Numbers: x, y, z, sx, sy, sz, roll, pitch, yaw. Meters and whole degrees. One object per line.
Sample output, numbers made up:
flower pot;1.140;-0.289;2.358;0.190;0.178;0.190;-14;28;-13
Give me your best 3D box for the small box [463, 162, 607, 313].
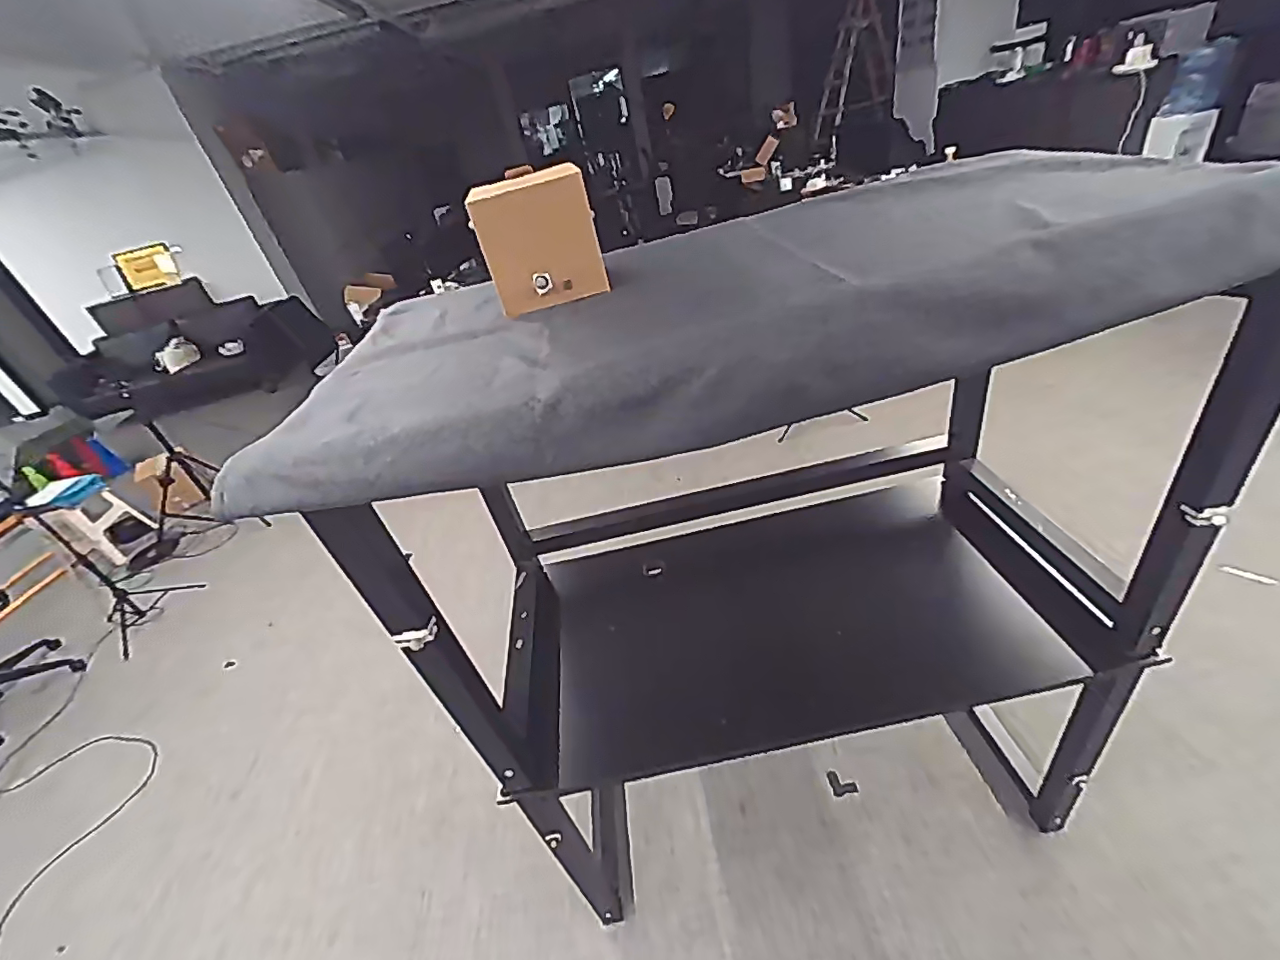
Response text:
small box;-0.157;-0.376;0.838;0.168;0.176;0.179;-17;35;-2
